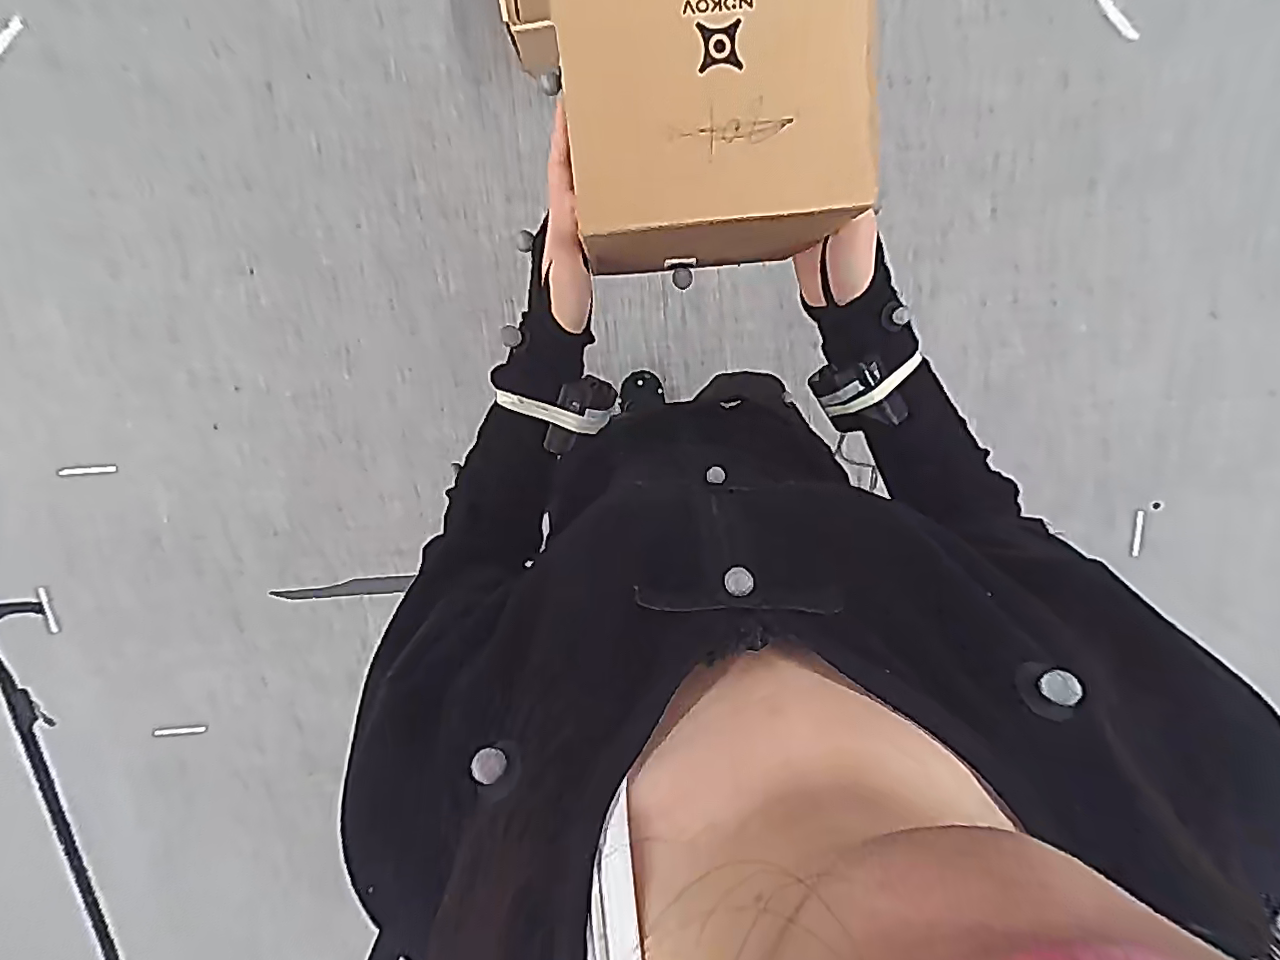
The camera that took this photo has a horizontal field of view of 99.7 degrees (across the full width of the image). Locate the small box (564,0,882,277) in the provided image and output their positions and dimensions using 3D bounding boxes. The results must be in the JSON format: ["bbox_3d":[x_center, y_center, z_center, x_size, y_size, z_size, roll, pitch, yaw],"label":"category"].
[{"bbox_3d":[0.041,-0.245,0.358,0.168,0.176,0.179,-7,103,0],"label":"small box"}]
